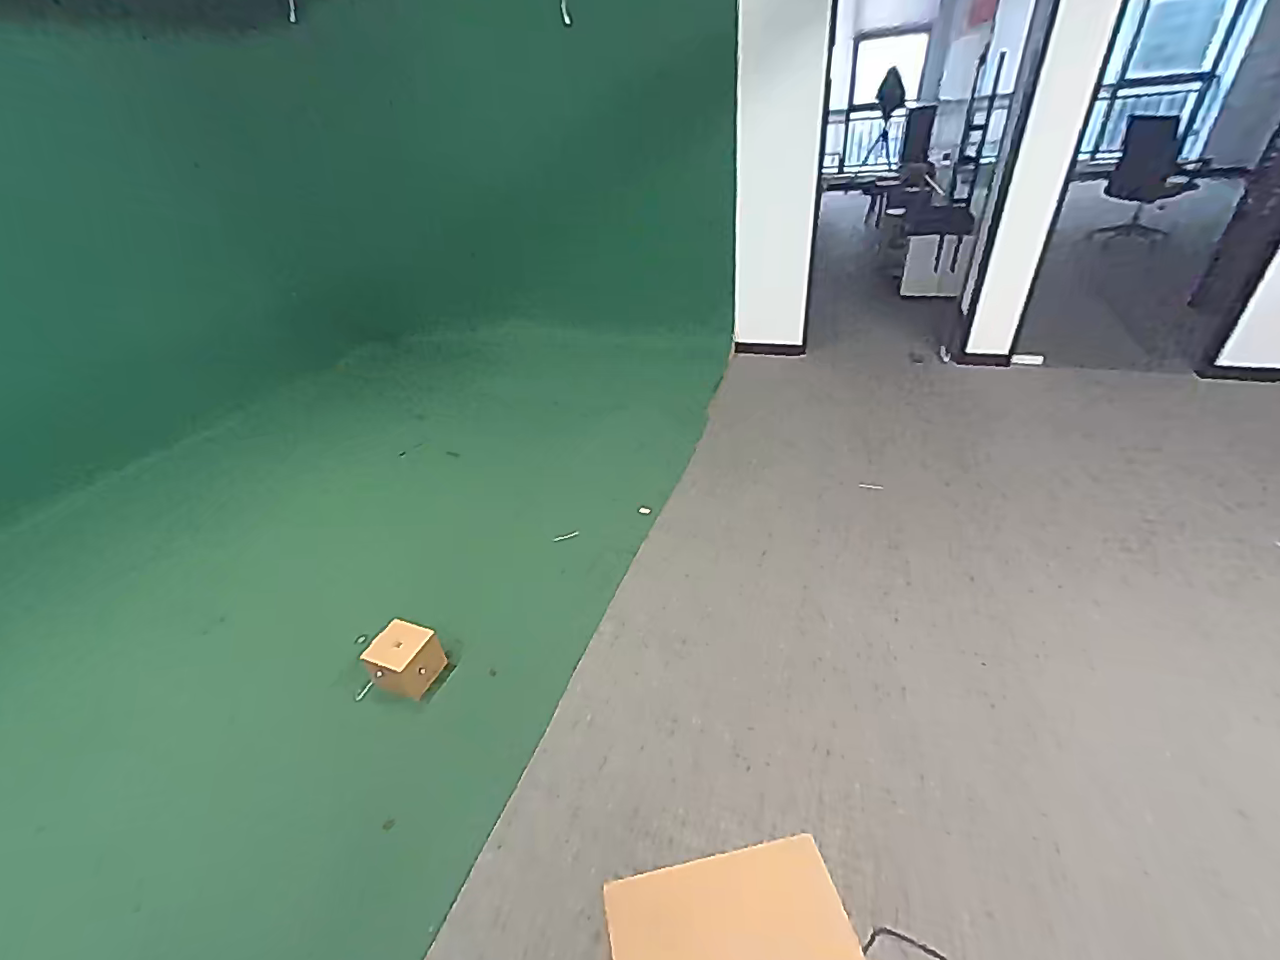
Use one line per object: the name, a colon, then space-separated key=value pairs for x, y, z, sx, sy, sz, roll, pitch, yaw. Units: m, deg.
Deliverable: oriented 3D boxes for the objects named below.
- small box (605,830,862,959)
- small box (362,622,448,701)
small box: x=0.067 y=0.396 z=0.388 sx=0.168 sy=0.176 sz=0.179 roll=-6 pitch=37 yaw=-11
small box: x=-0.772 y=0.606 z=1.801 sx=0.179 sy=0.176 sz=0.168 roll=8 pitch=38 yaw=21
